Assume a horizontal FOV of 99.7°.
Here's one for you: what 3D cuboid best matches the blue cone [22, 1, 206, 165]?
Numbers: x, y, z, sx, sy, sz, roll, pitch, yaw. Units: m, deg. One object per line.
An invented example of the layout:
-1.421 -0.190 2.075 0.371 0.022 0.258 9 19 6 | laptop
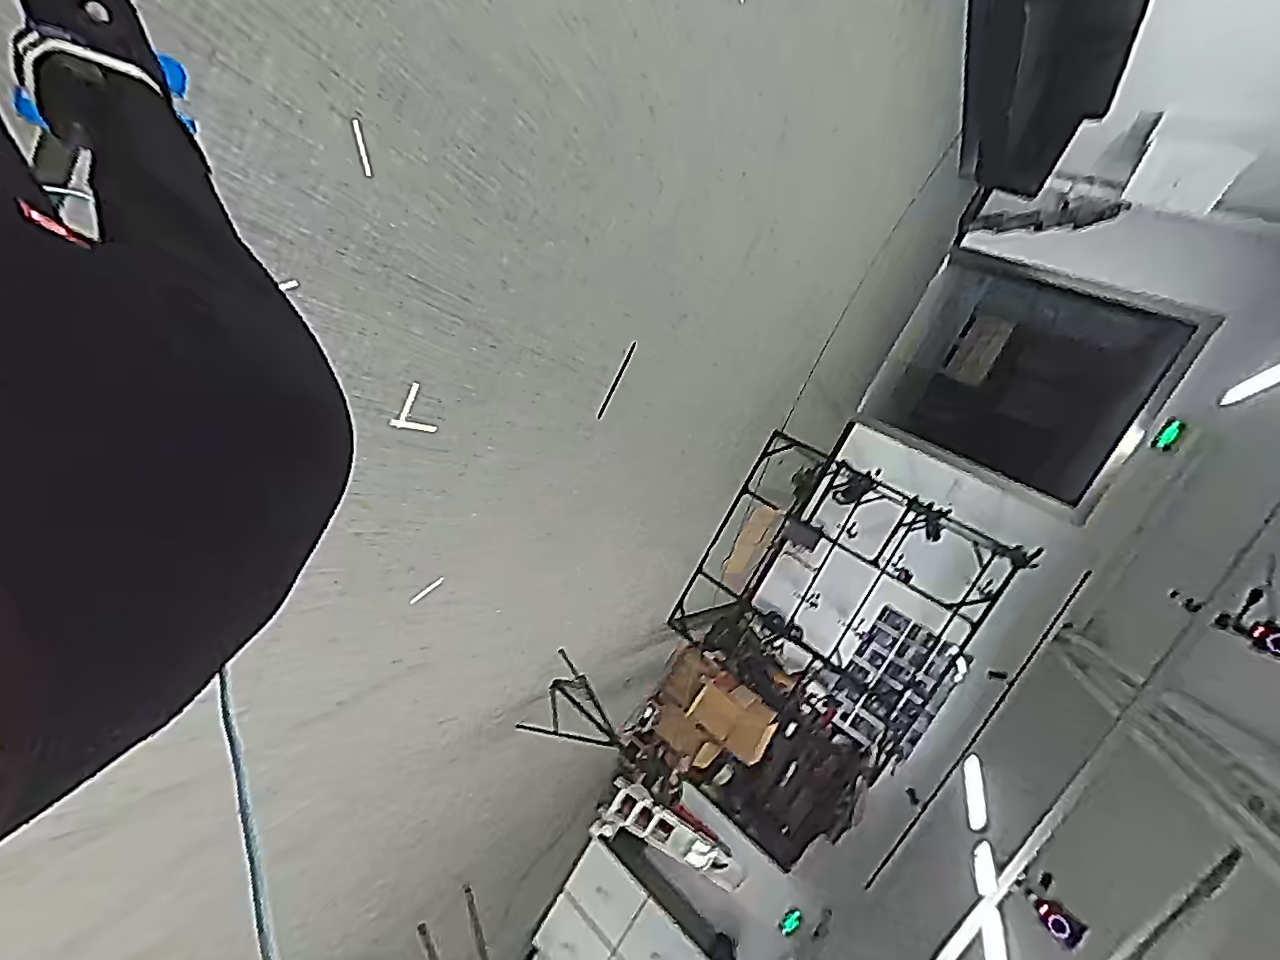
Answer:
-0.813 -0.606 0.877 0.192 0.380 0.193 4 115 -61 | blue cone
